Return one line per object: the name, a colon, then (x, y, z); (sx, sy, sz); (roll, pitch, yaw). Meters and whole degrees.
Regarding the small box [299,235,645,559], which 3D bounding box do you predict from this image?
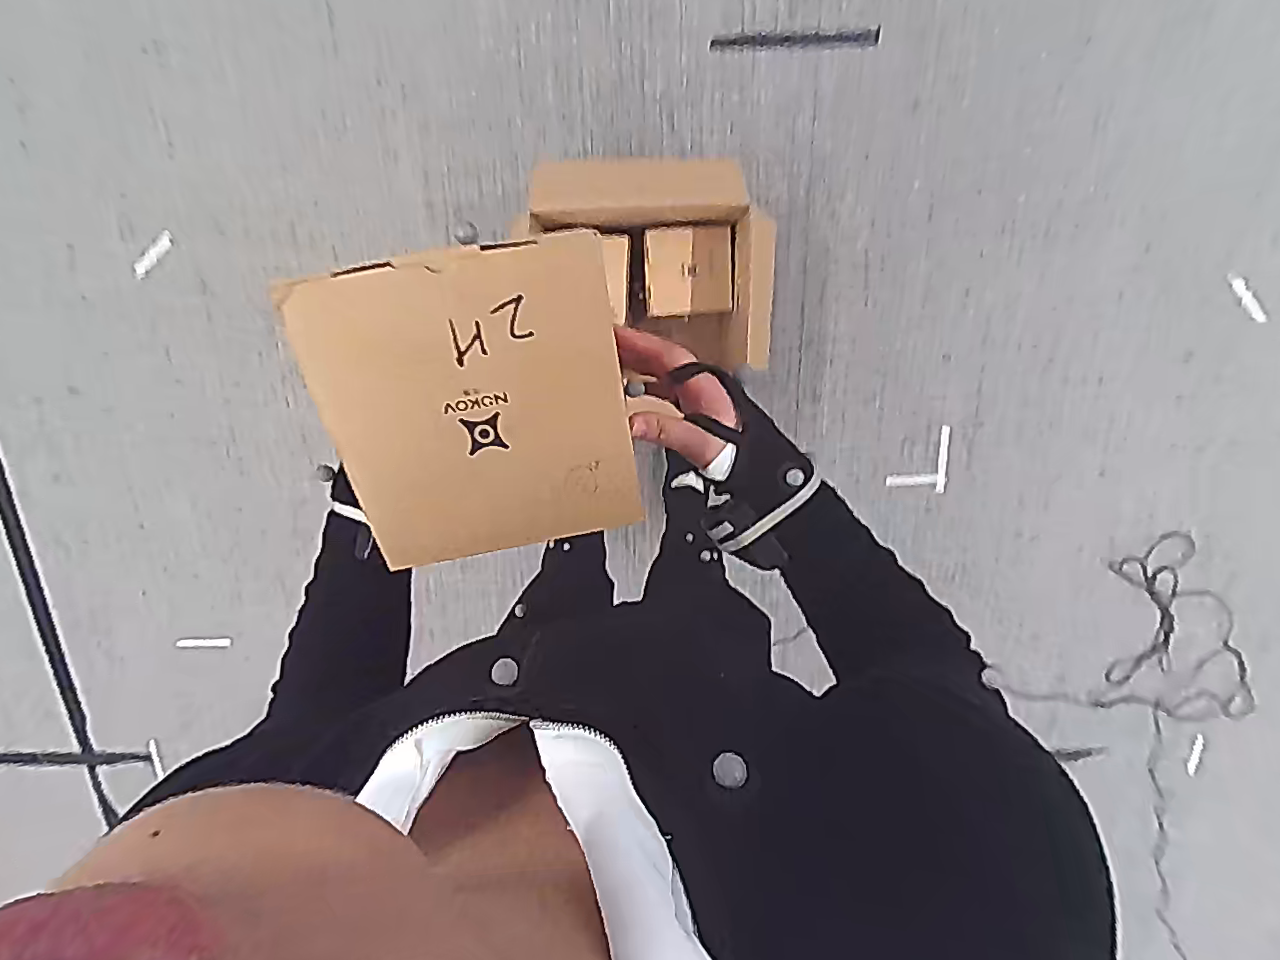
small box: (-0.095, -0.071, 0.389); (0.168, 0.176, 0.179); (-10, 115, -4)
